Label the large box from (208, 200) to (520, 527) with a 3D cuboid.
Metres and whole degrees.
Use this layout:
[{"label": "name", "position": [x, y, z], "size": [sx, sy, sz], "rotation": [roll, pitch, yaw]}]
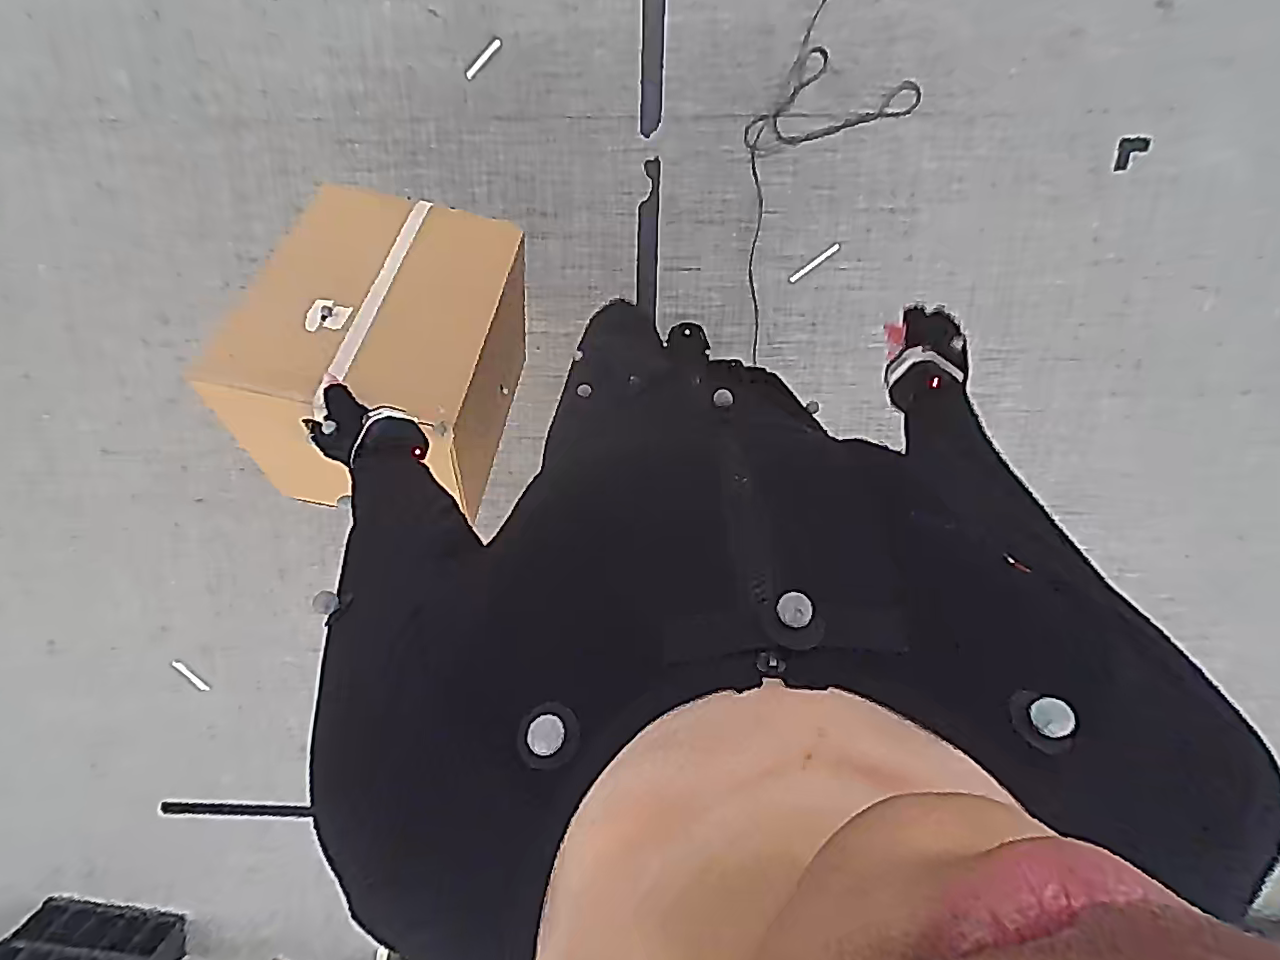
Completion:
[{"label": "large box", "position": [-0.394, -0.182, 0.907], "size": [0.320, 0.408, 0.320], "rotation": [10, 150, -4]}]
